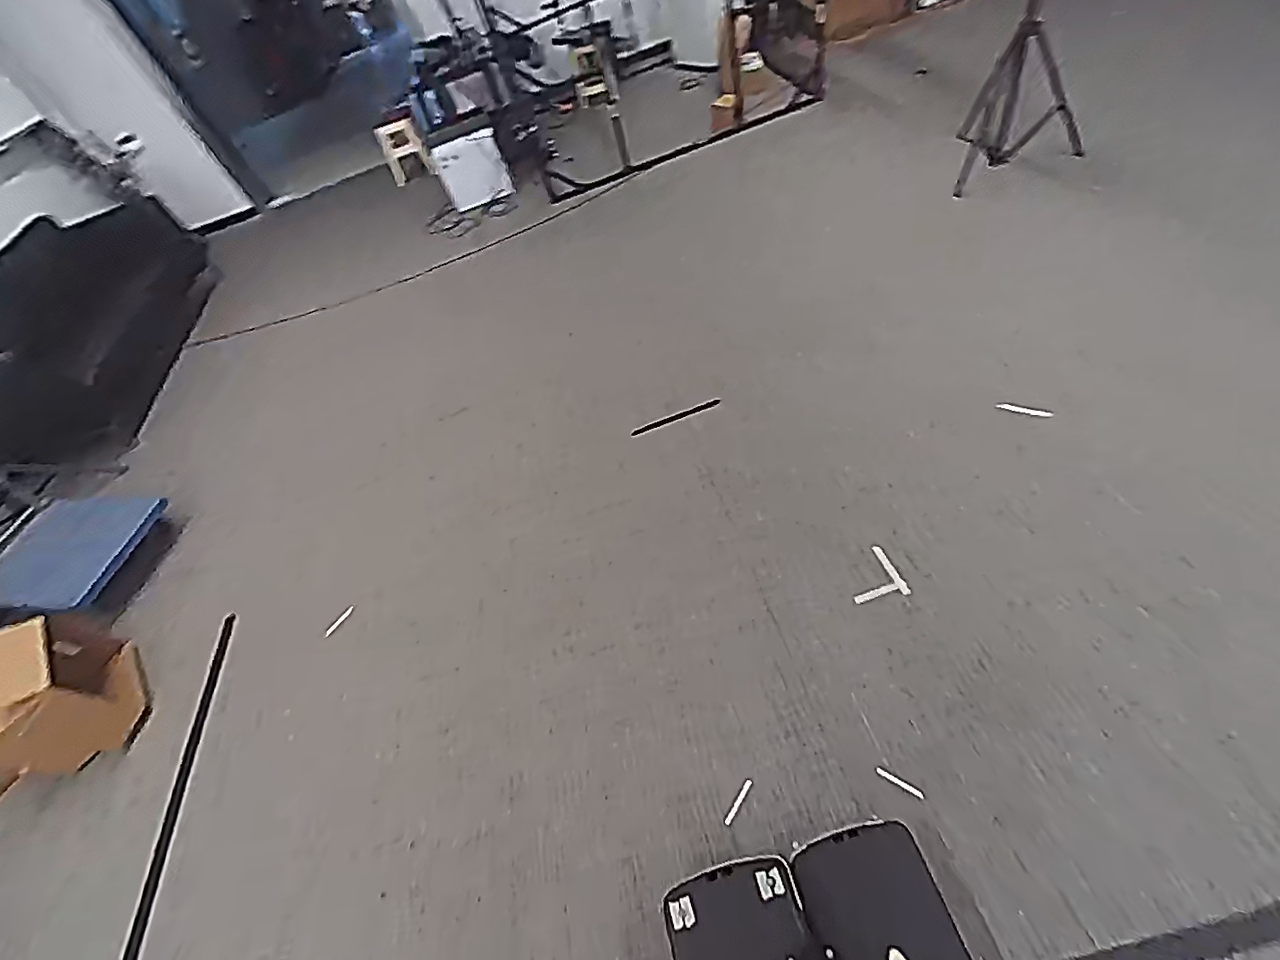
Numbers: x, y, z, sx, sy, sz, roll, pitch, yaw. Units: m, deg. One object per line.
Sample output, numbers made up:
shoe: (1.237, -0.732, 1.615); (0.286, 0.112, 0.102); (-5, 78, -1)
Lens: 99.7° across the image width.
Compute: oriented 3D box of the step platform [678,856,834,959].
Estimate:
step platform: (0.295, 1.125, 1.010); (0.286, 0.204, 0.684); (-20, 49, 2)
